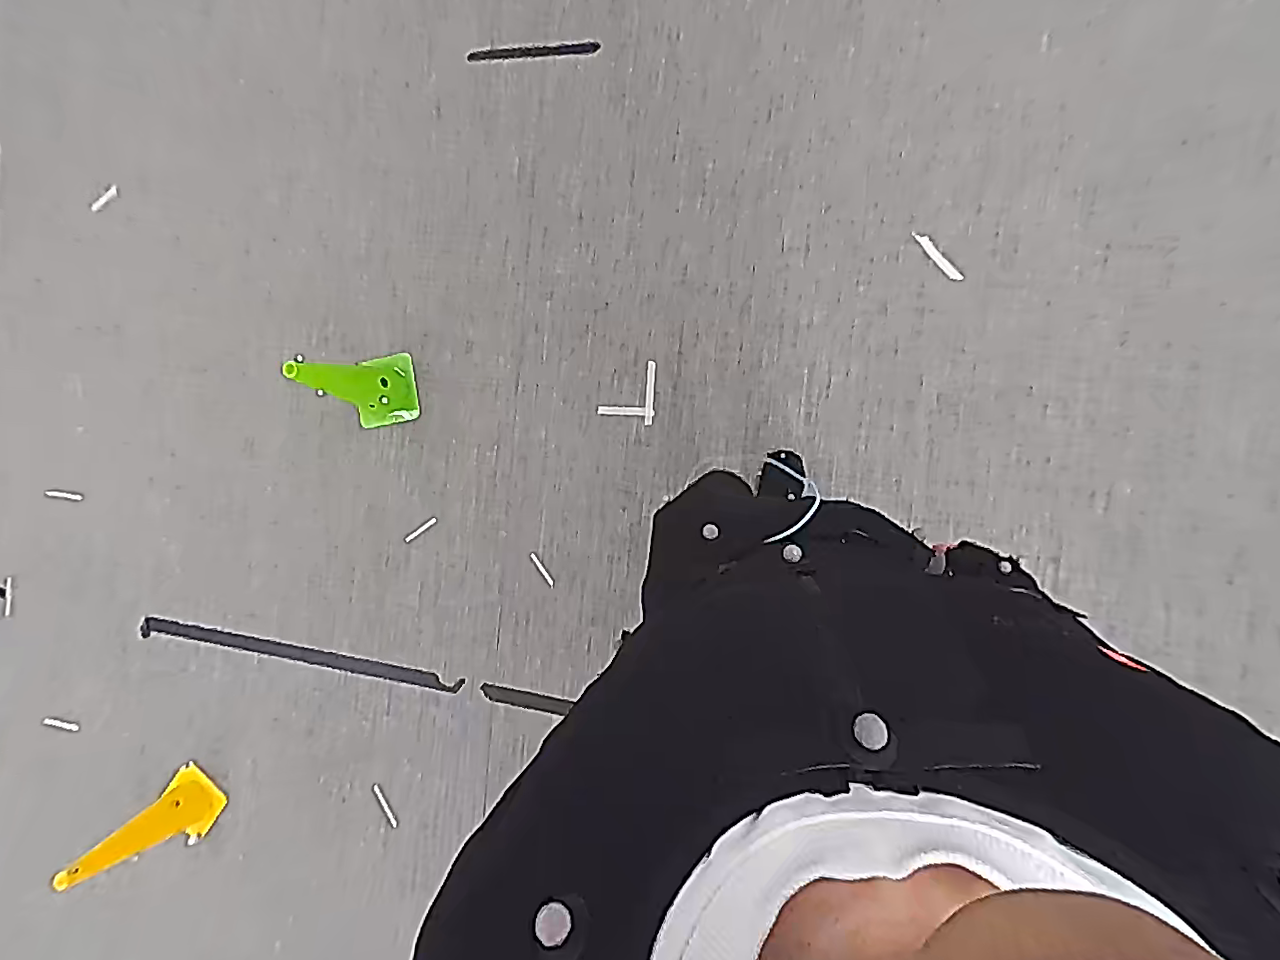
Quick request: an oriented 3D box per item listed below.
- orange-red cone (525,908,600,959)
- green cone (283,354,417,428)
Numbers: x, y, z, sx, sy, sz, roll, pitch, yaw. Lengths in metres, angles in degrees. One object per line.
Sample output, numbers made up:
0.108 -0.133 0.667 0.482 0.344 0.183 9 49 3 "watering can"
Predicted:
-0.257 1.338 1.369 0.199 0.360 0.198 14 93 12 "orange-red cone"
-0.798 -0.260 1.446 0.202 0.368 0.200 -10 90 10 "green cone"
